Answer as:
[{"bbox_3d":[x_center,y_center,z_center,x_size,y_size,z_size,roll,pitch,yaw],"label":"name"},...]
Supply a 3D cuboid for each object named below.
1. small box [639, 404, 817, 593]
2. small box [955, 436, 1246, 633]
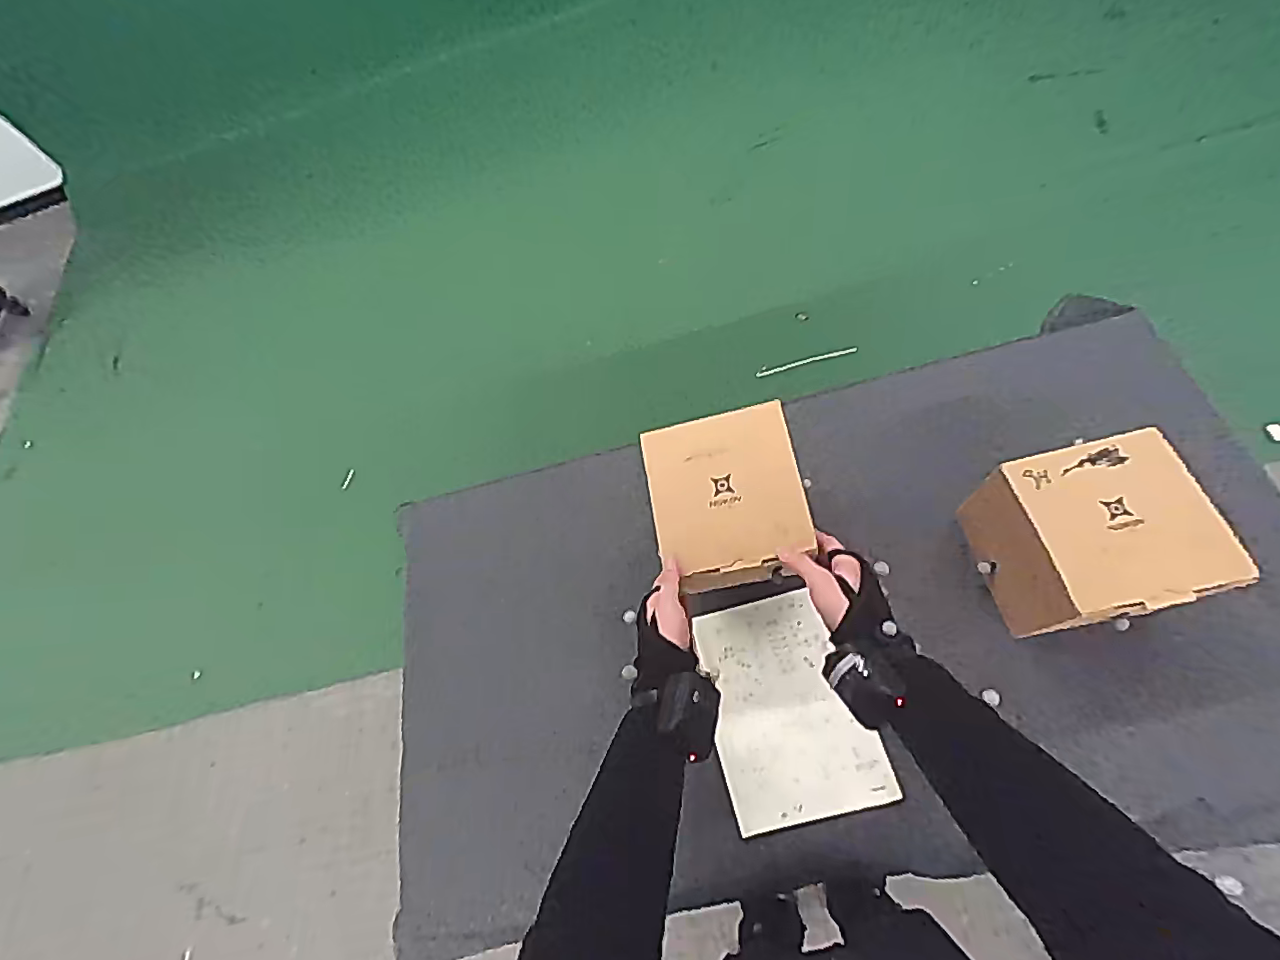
[{"bbox_3d":[0.107,0.036,0.652,0.168,0.176,0.179,-13,71,10],"label":"small box"},{"bbox_3d":[0.510,0.076,0.637,0.168,0.176,0.179,-13,66,5],"label":"small box"}]
